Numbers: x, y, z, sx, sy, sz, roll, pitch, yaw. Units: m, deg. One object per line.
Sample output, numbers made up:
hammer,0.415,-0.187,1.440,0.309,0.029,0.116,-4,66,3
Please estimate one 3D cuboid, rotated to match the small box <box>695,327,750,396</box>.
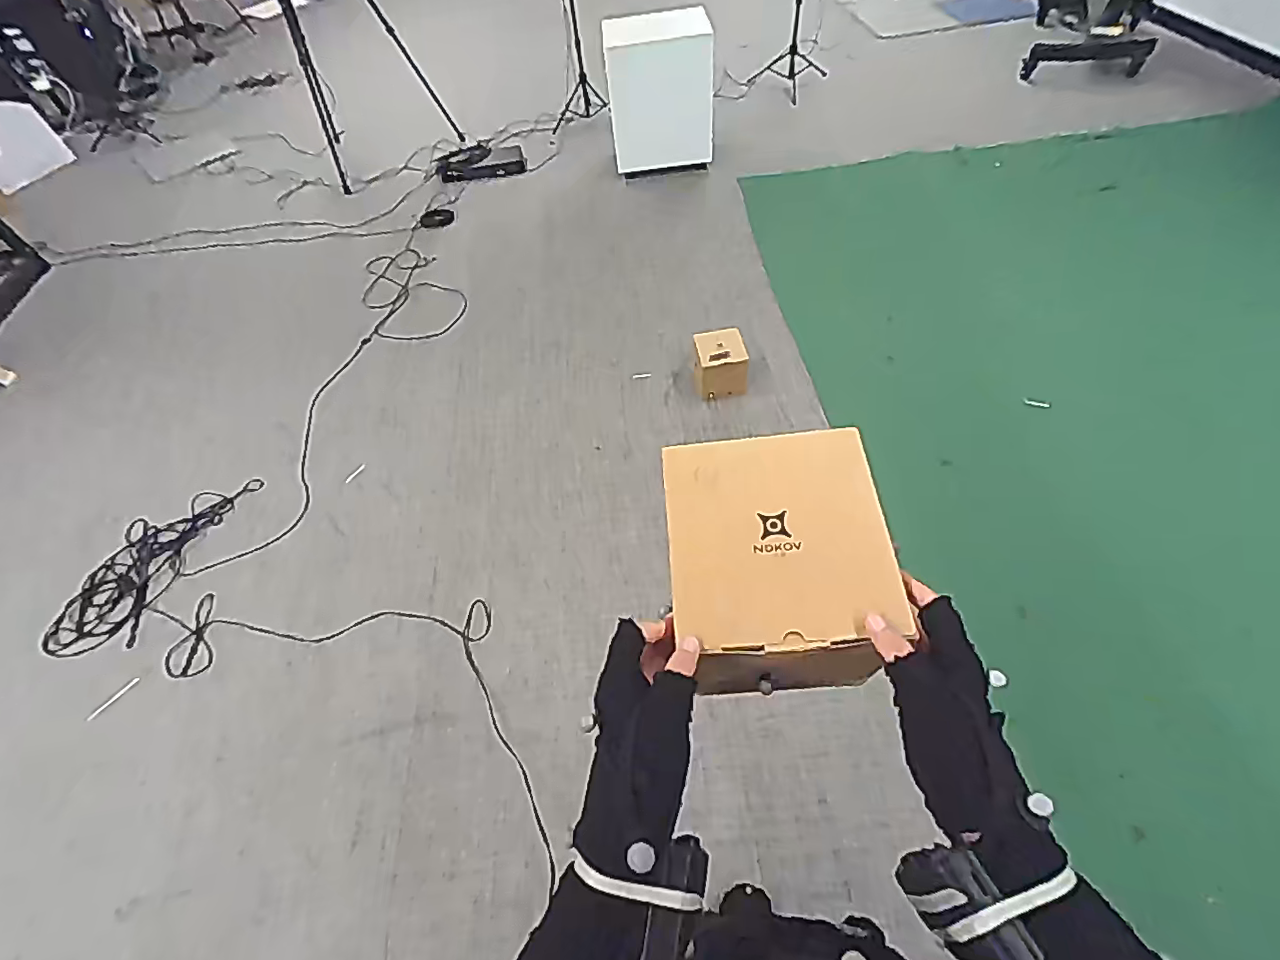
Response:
small box,0.296,-0.421,1.956,0.168,0.176,0.179,-9,54,0
